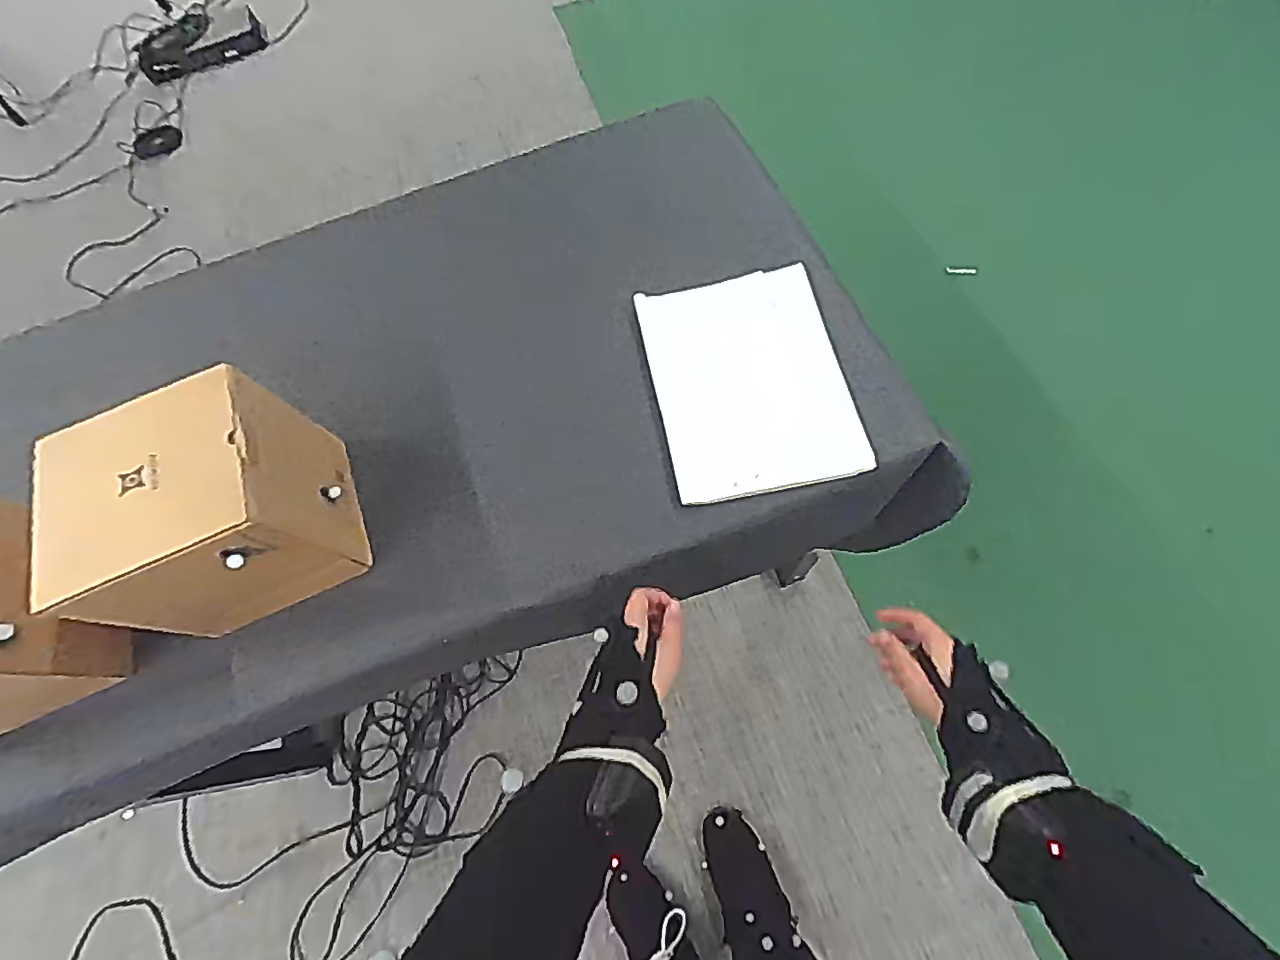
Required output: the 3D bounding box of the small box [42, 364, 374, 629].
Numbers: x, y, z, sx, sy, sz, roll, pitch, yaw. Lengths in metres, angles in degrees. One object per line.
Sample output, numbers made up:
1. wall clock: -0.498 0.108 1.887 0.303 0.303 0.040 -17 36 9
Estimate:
1. small box: -0.395 0.028 0.519 0.179 0.176 0.168 -25 67 -4
